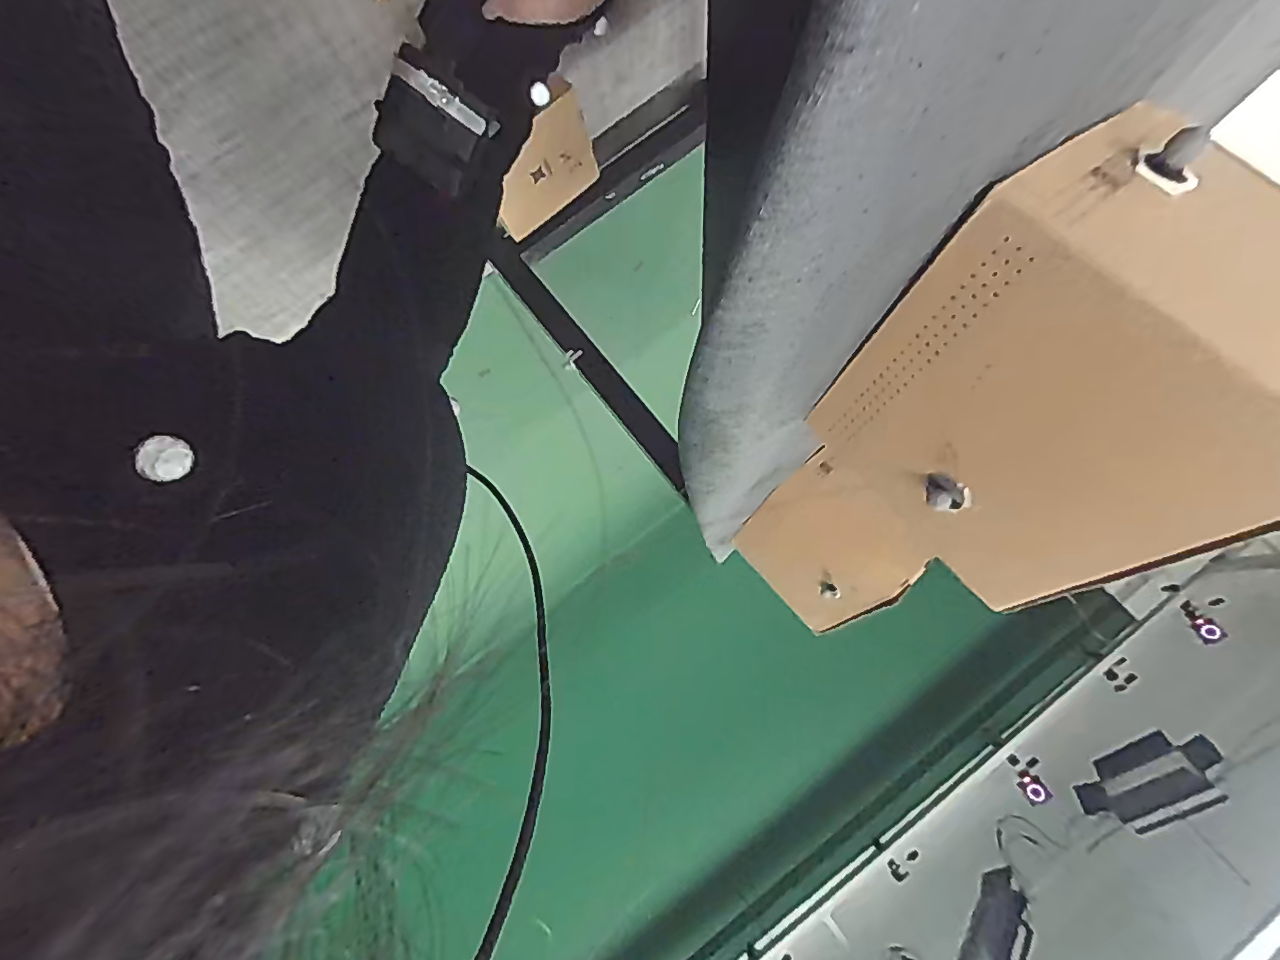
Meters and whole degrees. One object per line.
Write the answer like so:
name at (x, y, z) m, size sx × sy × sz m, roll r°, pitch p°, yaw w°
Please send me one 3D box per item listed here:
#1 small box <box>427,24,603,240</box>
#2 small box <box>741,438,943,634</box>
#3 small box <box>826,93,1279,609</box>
small box at (-0.188, -0.512, 0.808) m, size 0.179 × 0.176 × 0.168 m, roll -39°, pitch 165°, yaw 1°
small box at (0.254, 0.058, 0.675) m, size 0.168 × 0.176 × 0.179 m, roll -34°, pitch 163°, yaw -25°
small box at (0.234, -0.062, 0.297) m, size 0.168 × 0.176 × 0.179 m, roll -35°, pitch 164°, yaw -24°
